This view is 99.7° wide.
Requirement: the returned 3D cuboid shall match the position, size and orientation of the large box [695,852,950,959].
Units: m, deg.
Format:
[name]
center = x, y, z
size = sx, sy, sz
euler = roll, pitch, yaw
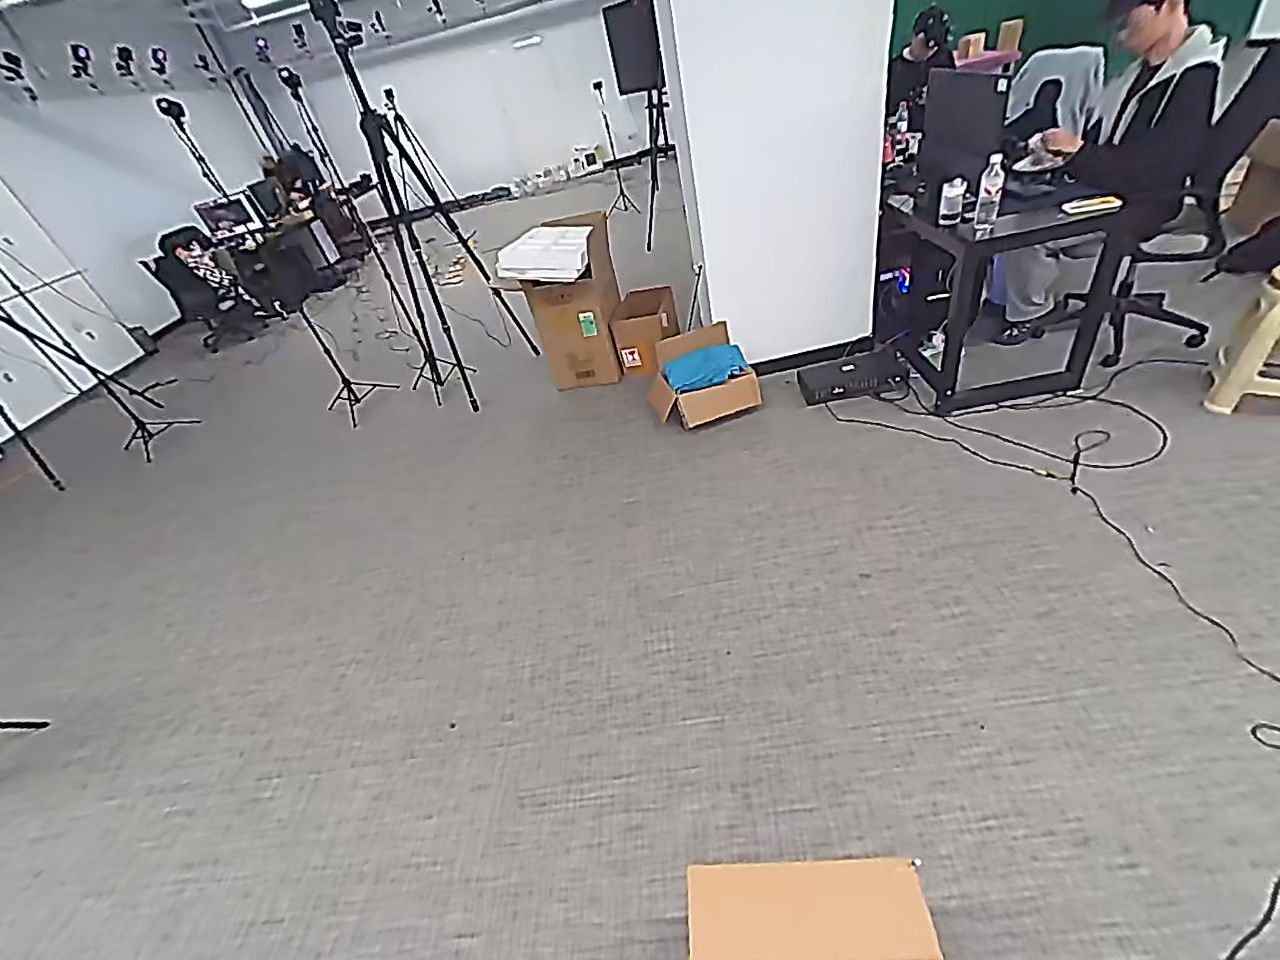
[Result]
[large box]
center = 0.323, 0.903, 0.961
size = 0.408, 0.320, 0.320
euler = -8, 38, 9
